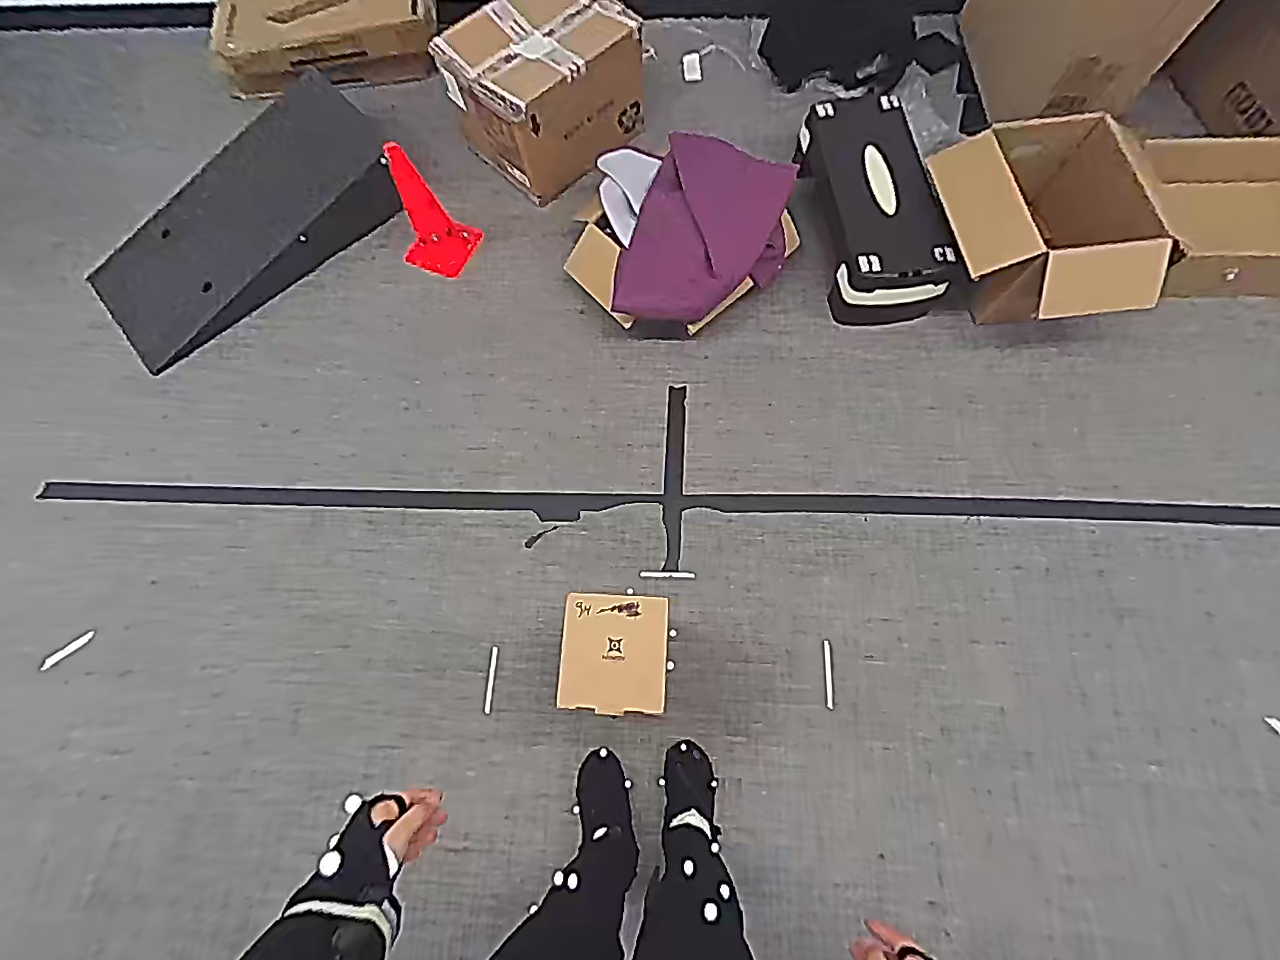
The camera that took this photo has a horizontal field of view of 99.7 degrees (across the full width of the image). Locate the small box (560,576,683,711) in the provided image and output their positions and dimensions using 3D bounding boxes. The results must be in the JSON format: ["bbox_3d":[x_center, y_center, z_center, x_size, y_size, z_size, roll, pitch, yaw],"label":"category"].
[{"bbox_3d":[-0.020,0.251,0.836,0.168,0.176,0.179,2,72,3],"label":"small box"}]
